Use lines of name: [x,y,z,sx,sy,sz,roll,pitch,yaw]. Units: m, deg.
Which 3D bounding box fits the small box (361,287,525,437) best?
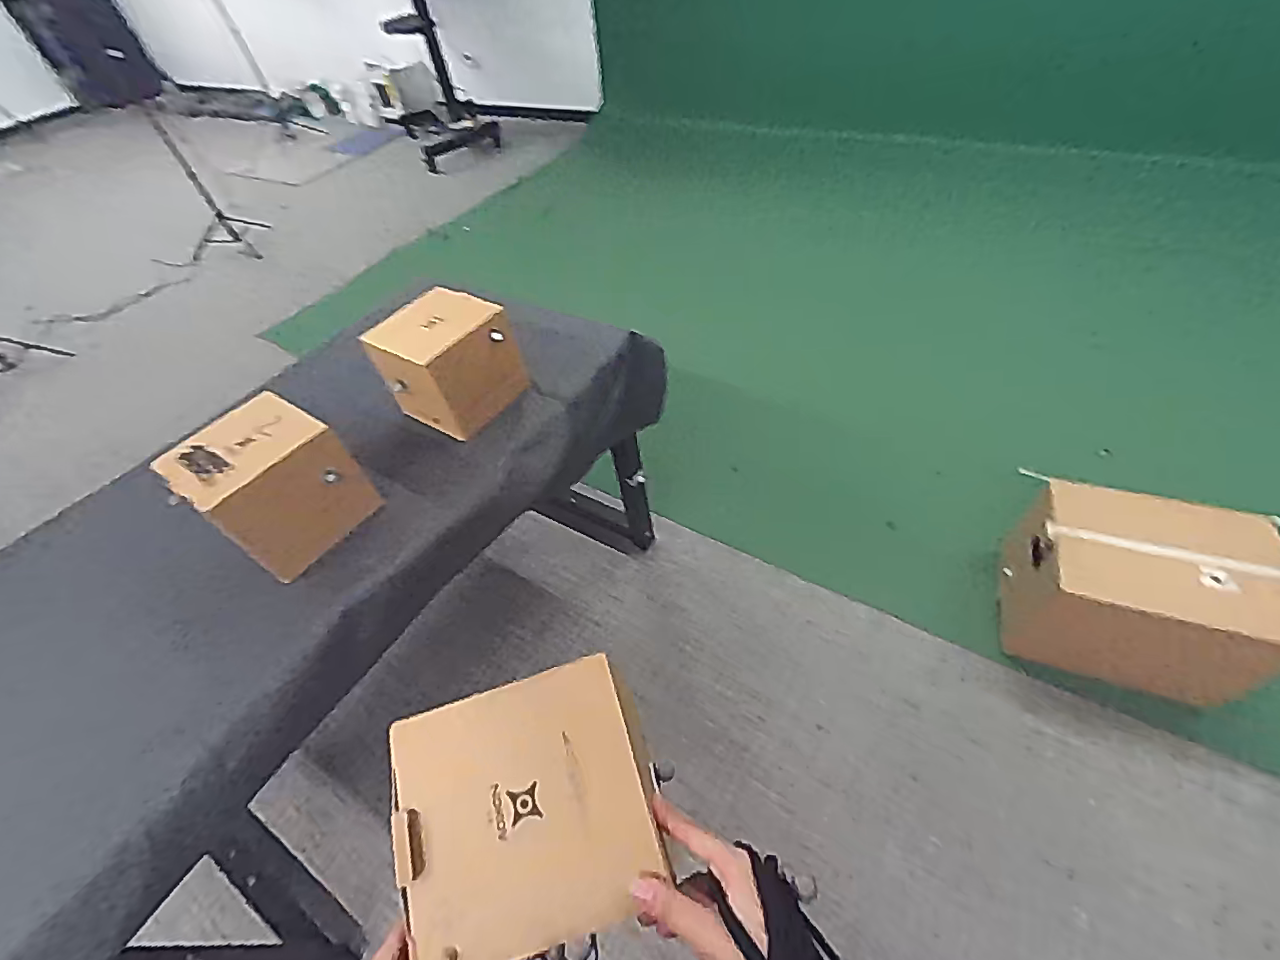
small box: [-0.327,-0.201,0.933,0.168,0.176,0.179,24,56,26]
